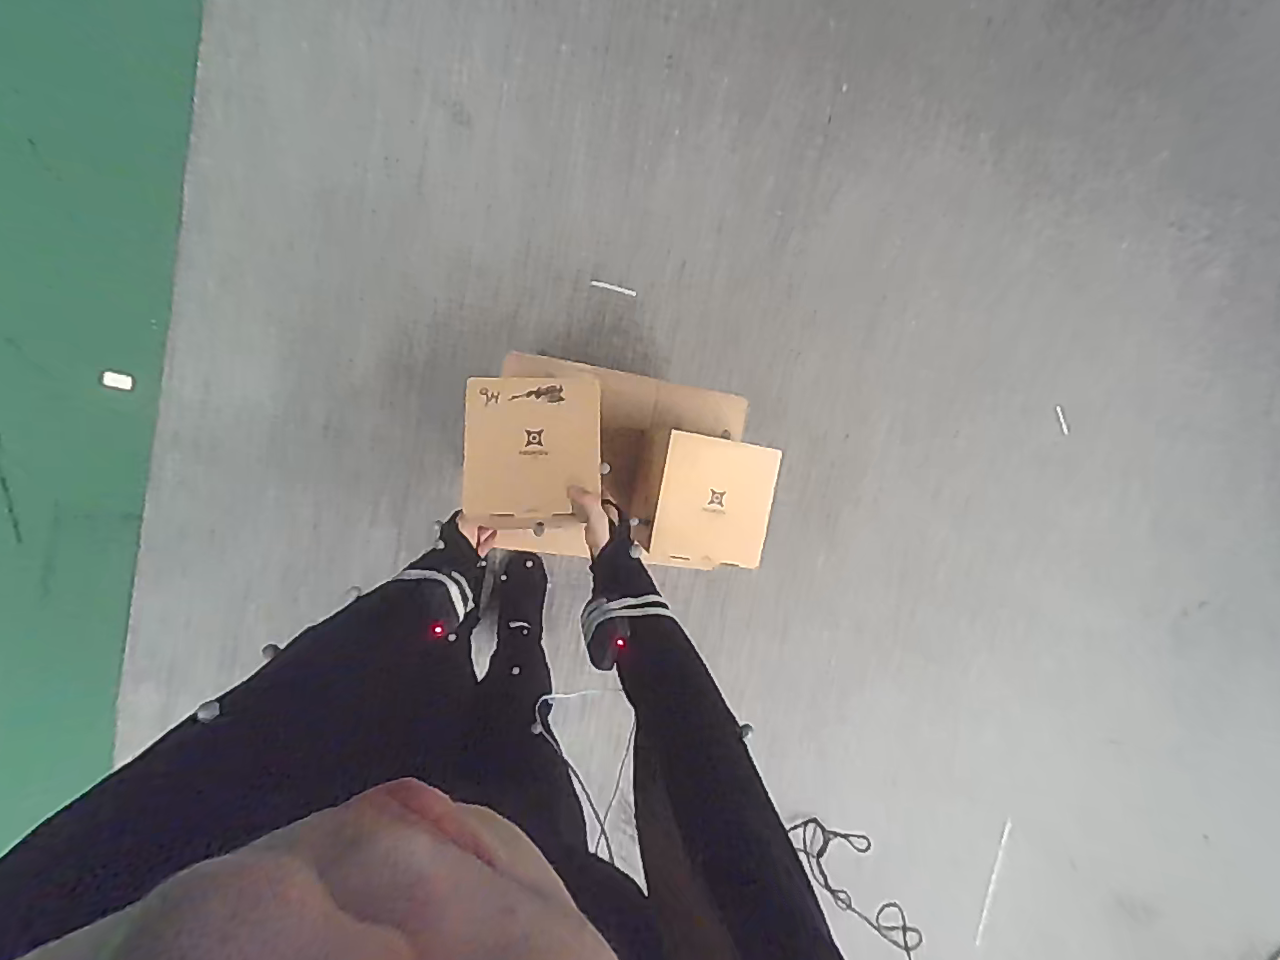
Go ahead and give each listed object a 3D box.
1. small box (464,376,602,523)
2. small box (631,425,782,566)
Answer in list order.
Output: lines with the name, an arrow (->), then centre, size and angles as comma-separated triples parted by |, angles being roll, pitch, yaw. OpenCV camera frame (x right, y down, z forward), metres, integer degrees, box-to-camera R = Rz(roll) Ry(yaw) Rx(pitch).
small box -> -0.136, -0.031, 0.738 | 0.168, 0.176, 0.179 | -1, 82, -5
small box -> 0.090, 0.016, 0.822 | 0.168, 0.176, 0.179 | 9, 96, -13
